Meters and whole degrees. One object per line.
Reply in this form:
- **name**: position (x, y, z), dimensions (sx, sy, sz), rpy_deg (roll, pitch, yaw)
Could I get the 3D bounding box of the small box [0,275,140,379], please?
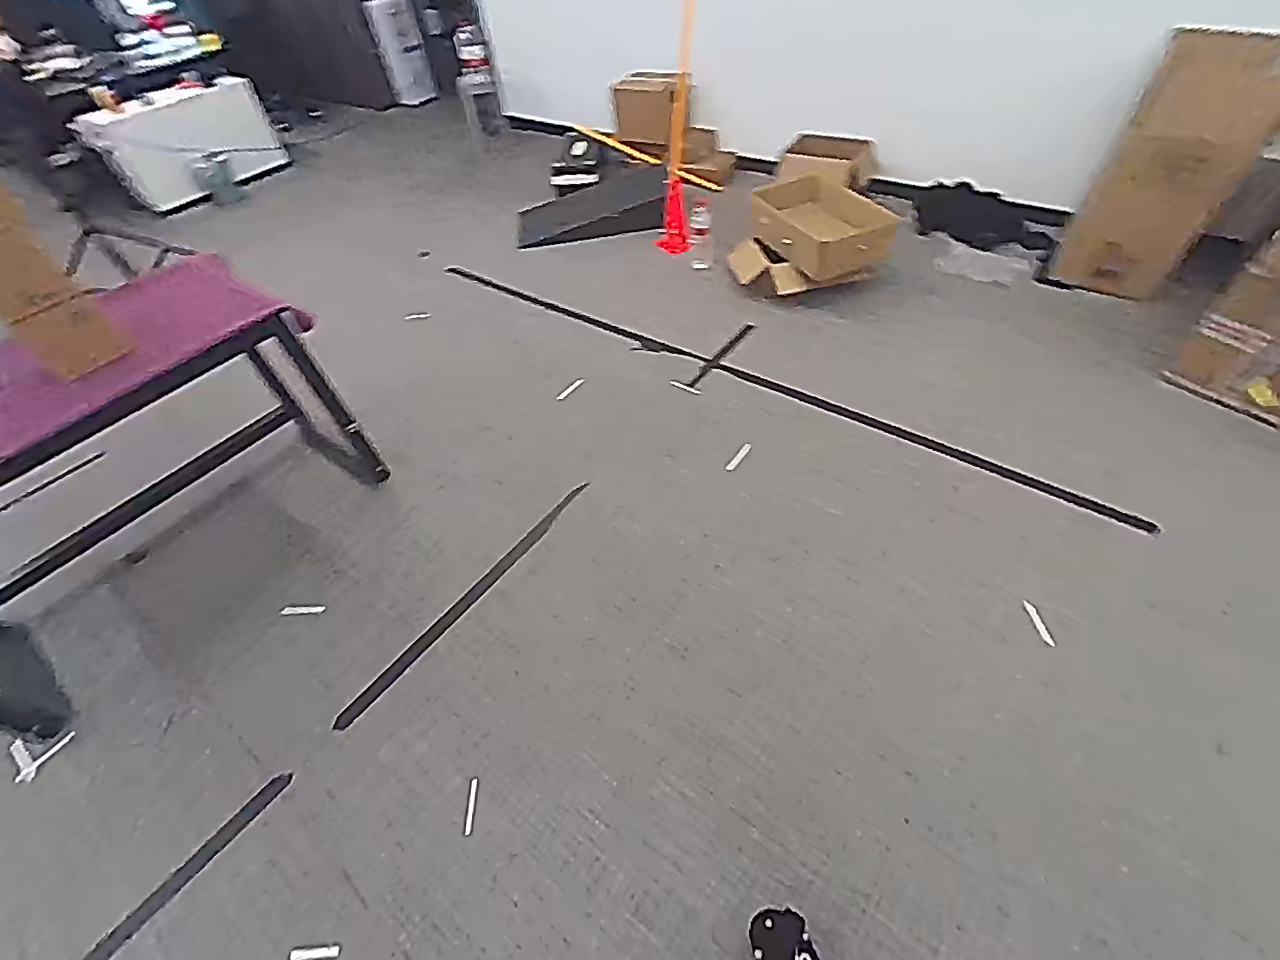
- **small box**: position (-1.446, -0.392, 1.385), dimensions (0.168, 0.176, 0.179), rpy_deg (26, 58, 26)
